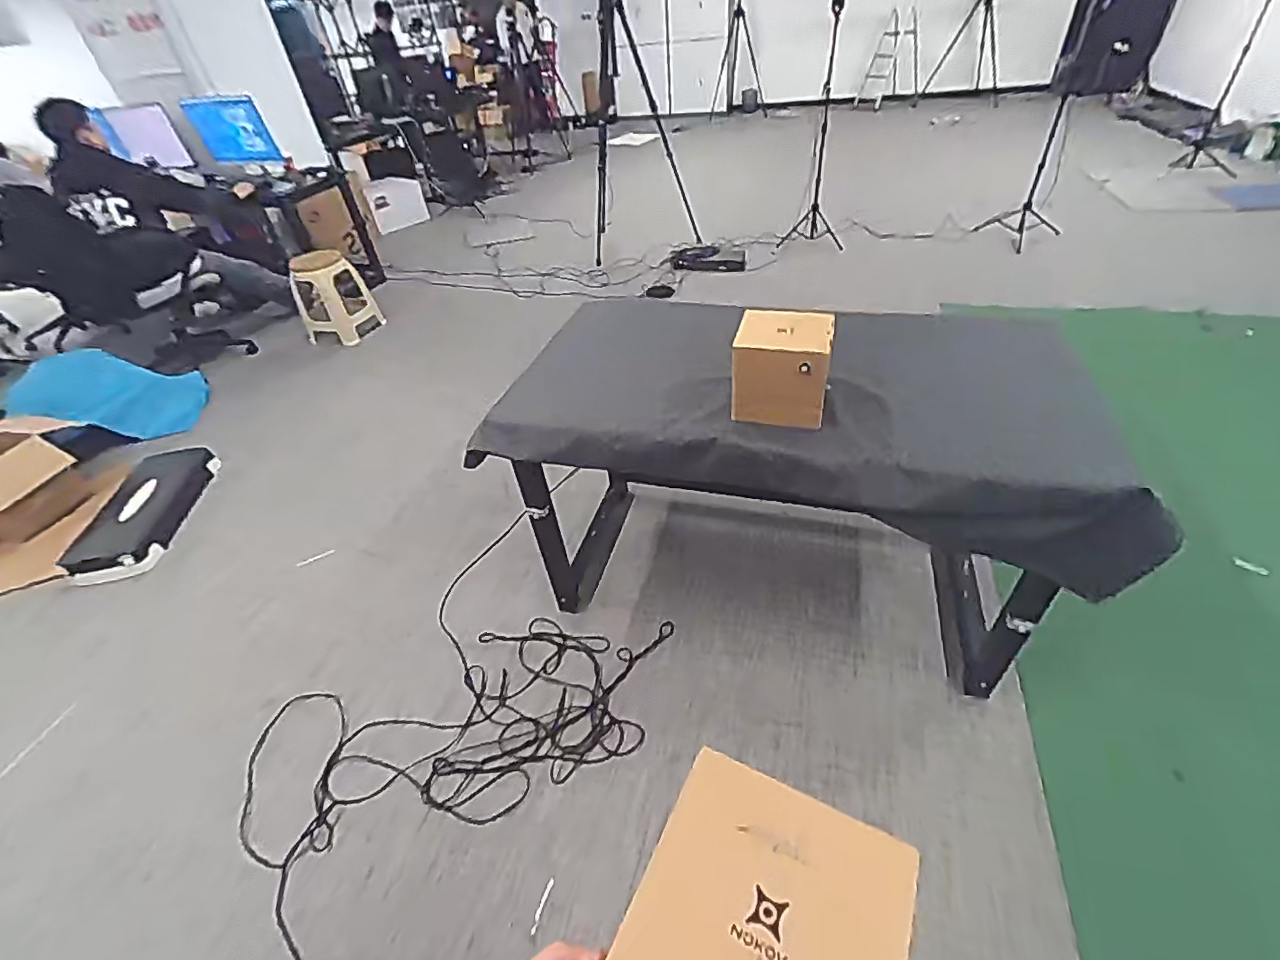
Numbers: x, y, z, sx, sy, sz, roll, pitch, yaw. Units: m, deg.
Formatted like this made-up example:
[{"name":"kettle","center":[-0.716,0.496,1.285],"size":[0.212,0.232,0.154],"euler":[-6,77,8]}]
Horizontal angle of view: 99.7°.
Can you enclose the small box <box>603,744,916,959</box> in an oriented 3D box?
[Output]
[{"name":"small box","center":[0.085,0.346,0.398],"size":[0.168,0.176,0.179],"euler":[16,40,24]}]

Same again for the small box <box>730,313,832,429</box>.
[{"name":"small box","center":[0.278,-0.219,1.079],"size":[0.179,0.176,0.168],"euler":[8,42,16]}]
